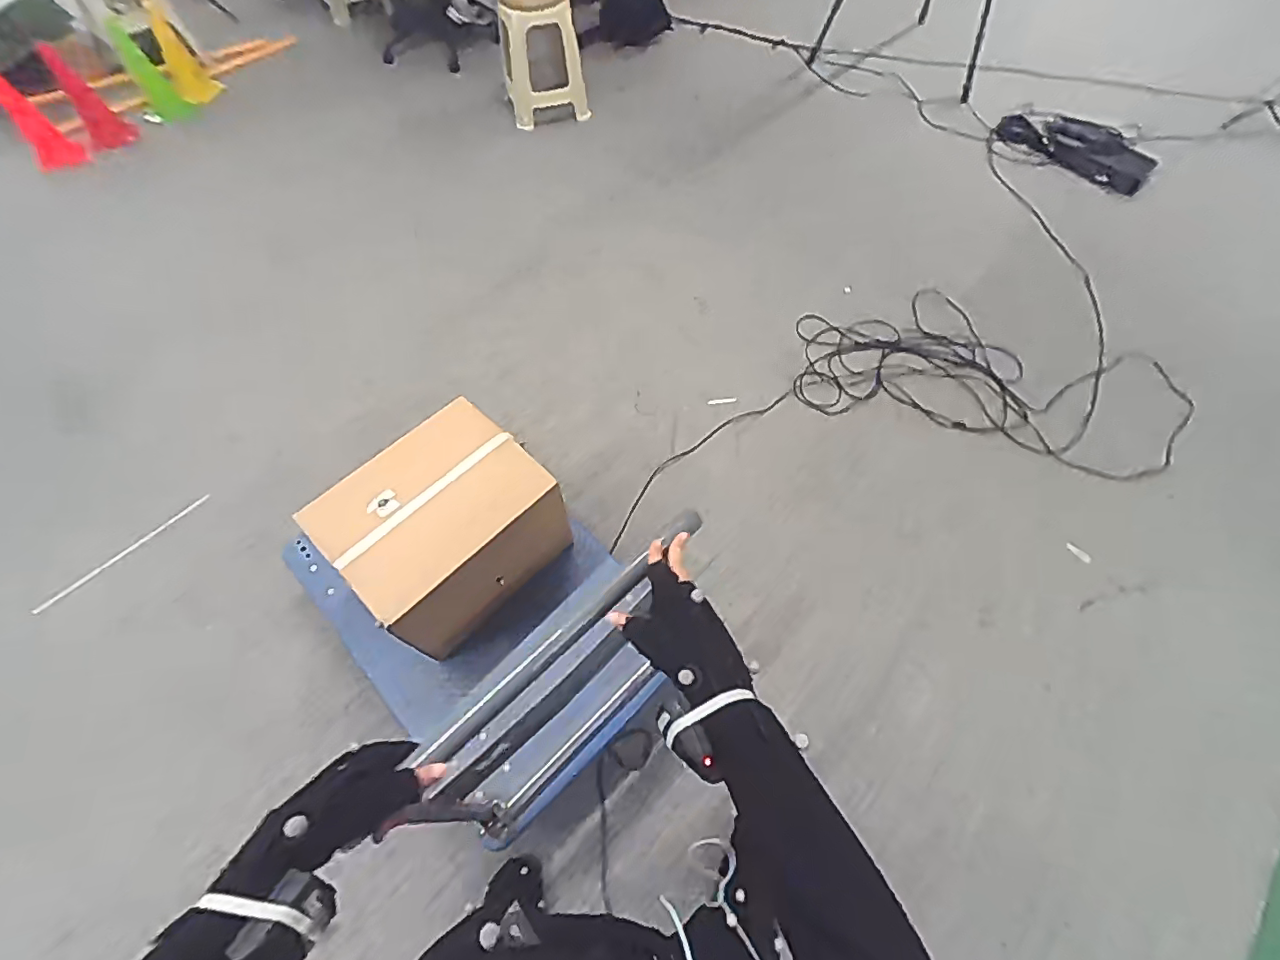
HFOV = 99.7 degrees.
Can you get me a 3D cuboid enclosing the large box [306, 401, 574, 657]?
[{"bbox_3d":[-0.400,0.113,1.187,0.320,0.320,0.408,39,68,19],"label":"large box"}]
